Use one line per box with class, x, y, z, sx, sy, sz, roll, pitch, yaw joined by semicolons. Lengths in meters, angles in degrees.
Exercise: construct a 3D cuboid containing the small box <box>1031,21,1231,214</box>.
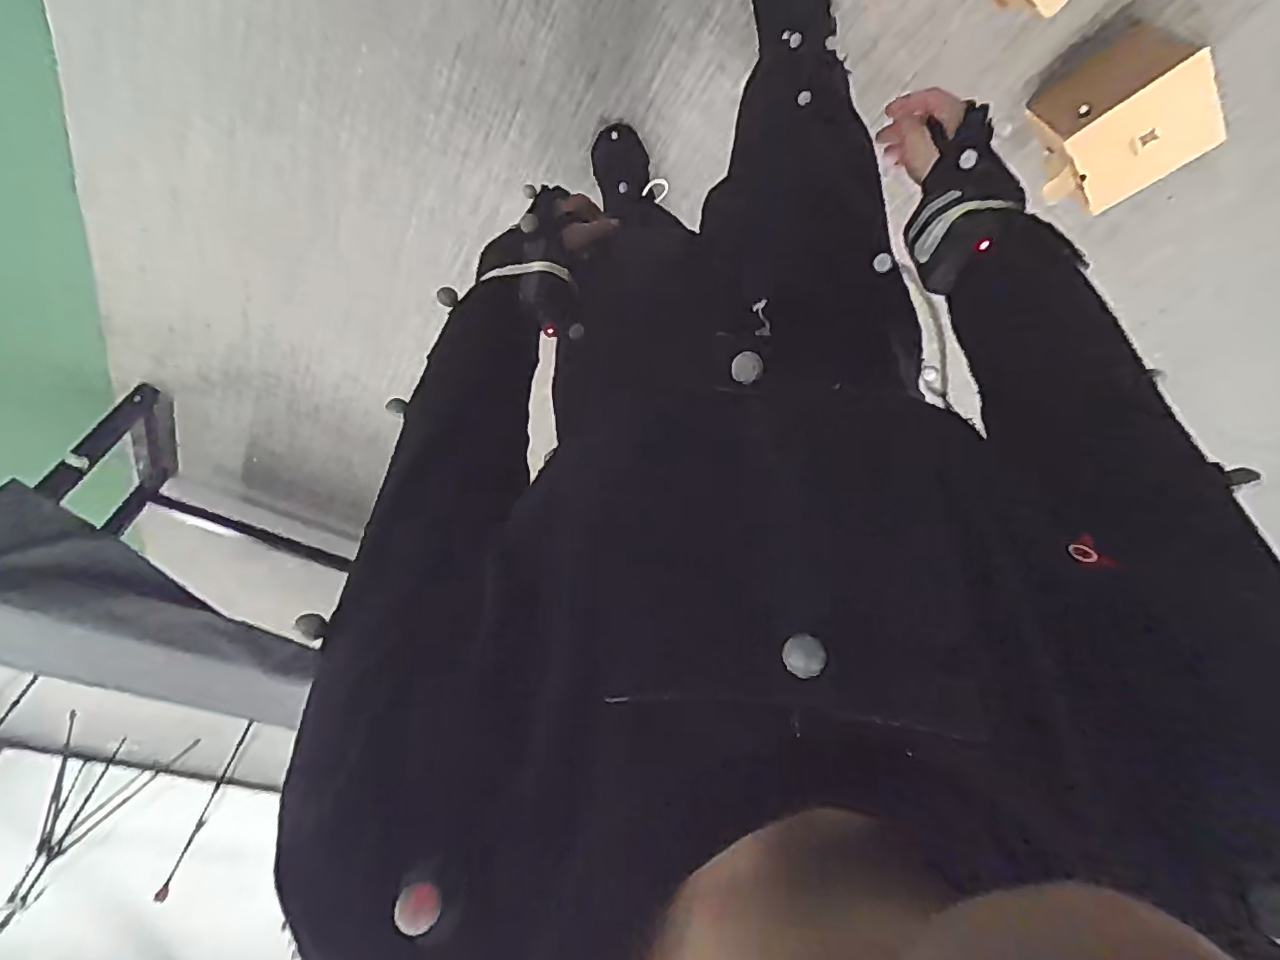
small box;0.787;-0.589;0.880;0.168;0.176;0.179;34;134;-30
